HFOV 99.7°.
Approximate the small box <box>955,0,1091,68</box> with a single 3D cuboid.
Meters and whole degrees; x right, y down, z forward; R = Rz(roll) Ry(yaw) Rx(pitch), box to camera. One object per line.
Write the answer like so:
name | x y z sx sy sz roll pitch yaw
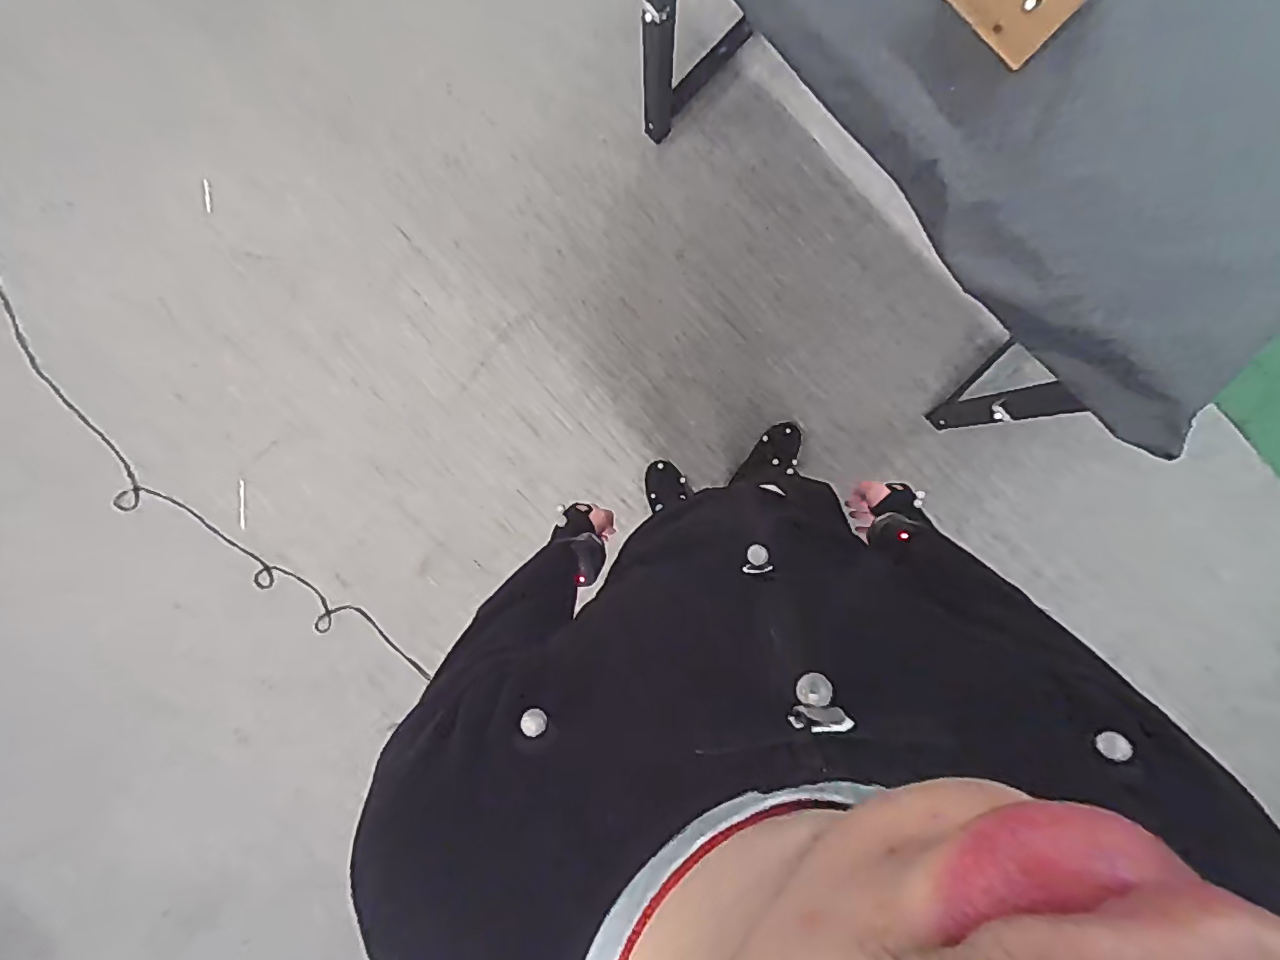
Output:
small box | 0.556 -0.712 0.716 0.179 0.176 0.168 -45 93 1
